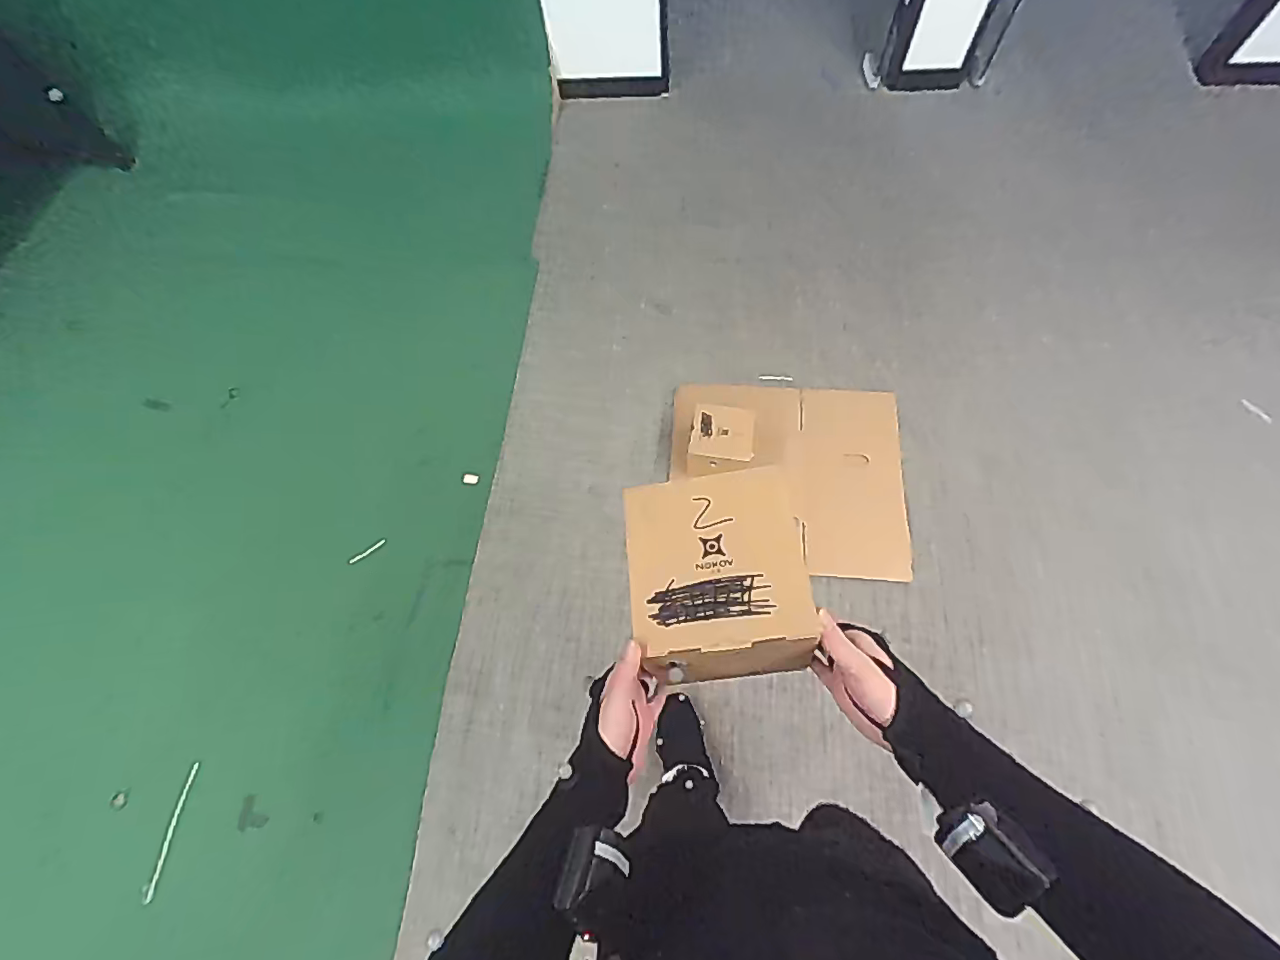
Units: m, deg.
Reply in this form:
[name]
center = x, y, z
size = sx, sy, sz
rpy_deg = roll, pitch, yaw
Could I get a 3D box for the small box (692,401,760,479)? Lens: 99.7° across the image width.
[small box]
center = 0.251, -0.113, 1.597
size = 0.179, 0.176, 0.168
rpy_deg = 8, 70, 8
